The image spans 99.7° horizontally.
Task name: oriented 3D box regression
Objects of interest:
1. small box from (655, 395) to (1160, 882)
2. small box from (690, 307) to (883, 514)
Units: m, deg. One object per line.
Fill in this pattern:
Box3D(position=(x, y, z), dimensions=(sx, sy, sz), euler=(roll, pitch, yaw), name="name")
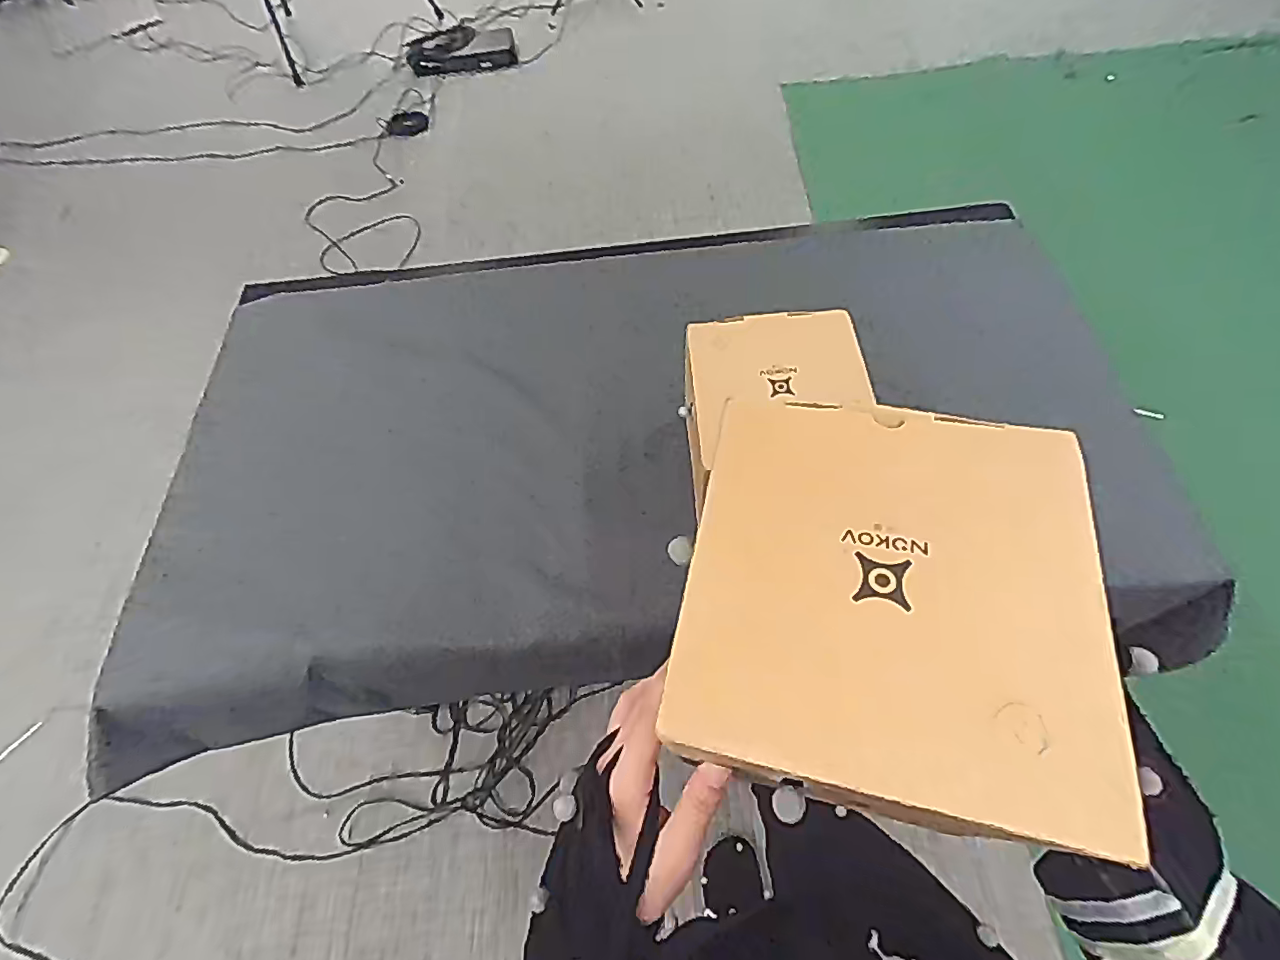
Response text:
Box3D(position=(0.116, 0.080, 0.293), dimensions=(0.168, 0.176, 0.179), euler=(8, 60, 15), name="small box")
Box3D(position=(0.141, -0.054, 0.577), dimensions=(0.168, 0.176, 0.179), euler=(-5, 63, 4), name="small box")
